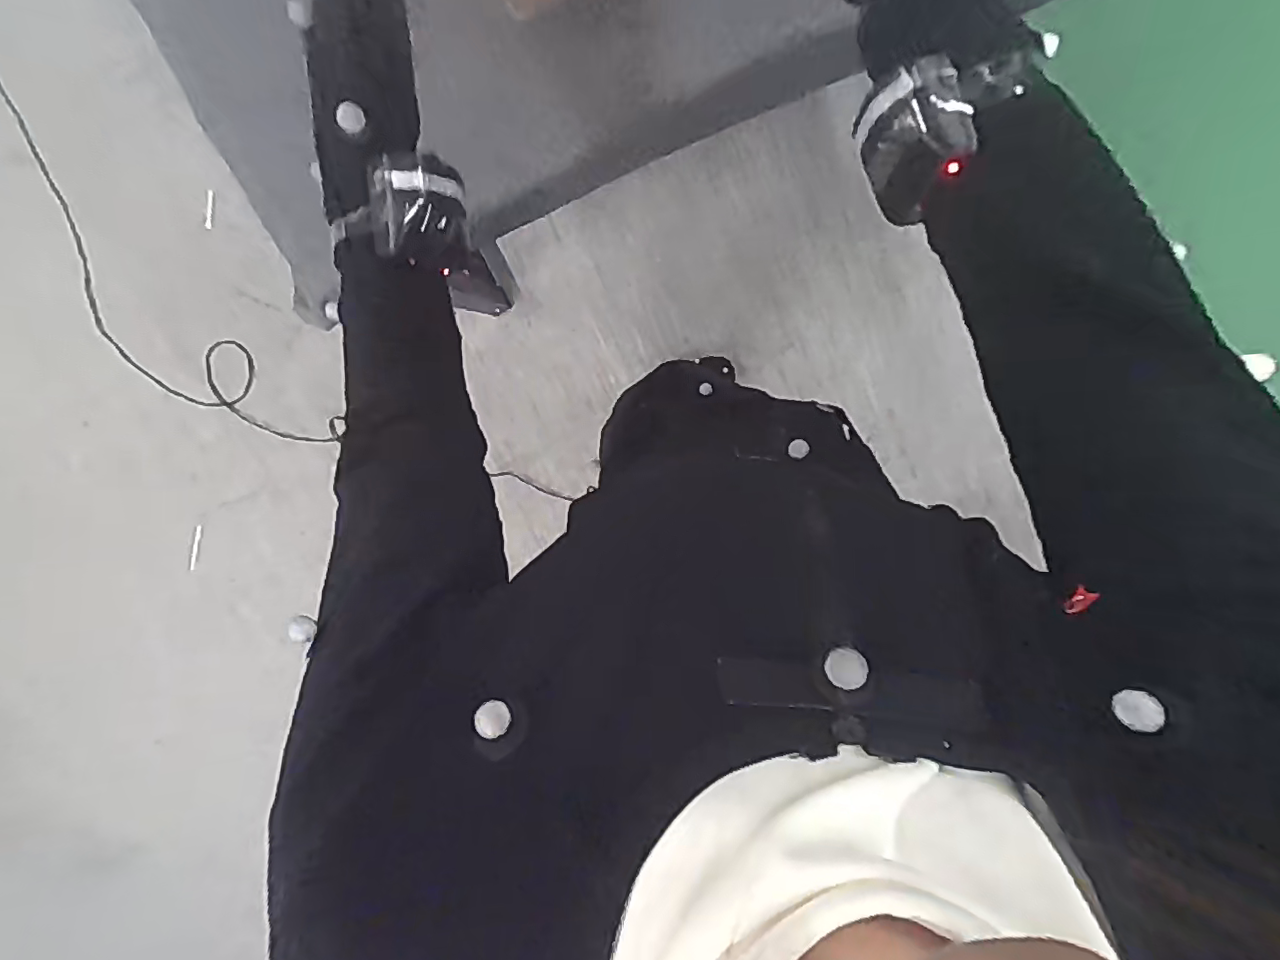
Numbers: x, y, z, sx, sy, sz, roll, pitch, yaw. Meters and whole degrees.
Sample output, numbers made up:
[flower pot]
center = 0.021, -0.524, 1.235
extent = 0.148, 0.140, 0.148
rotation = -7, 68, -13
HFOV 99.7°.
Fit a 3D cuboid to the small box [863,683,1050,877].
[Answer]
[small box]
center = 0.473, 0.455, 0.841
extent = 0.179, 0.176, 0.168
rotation = -27, 102, 7
